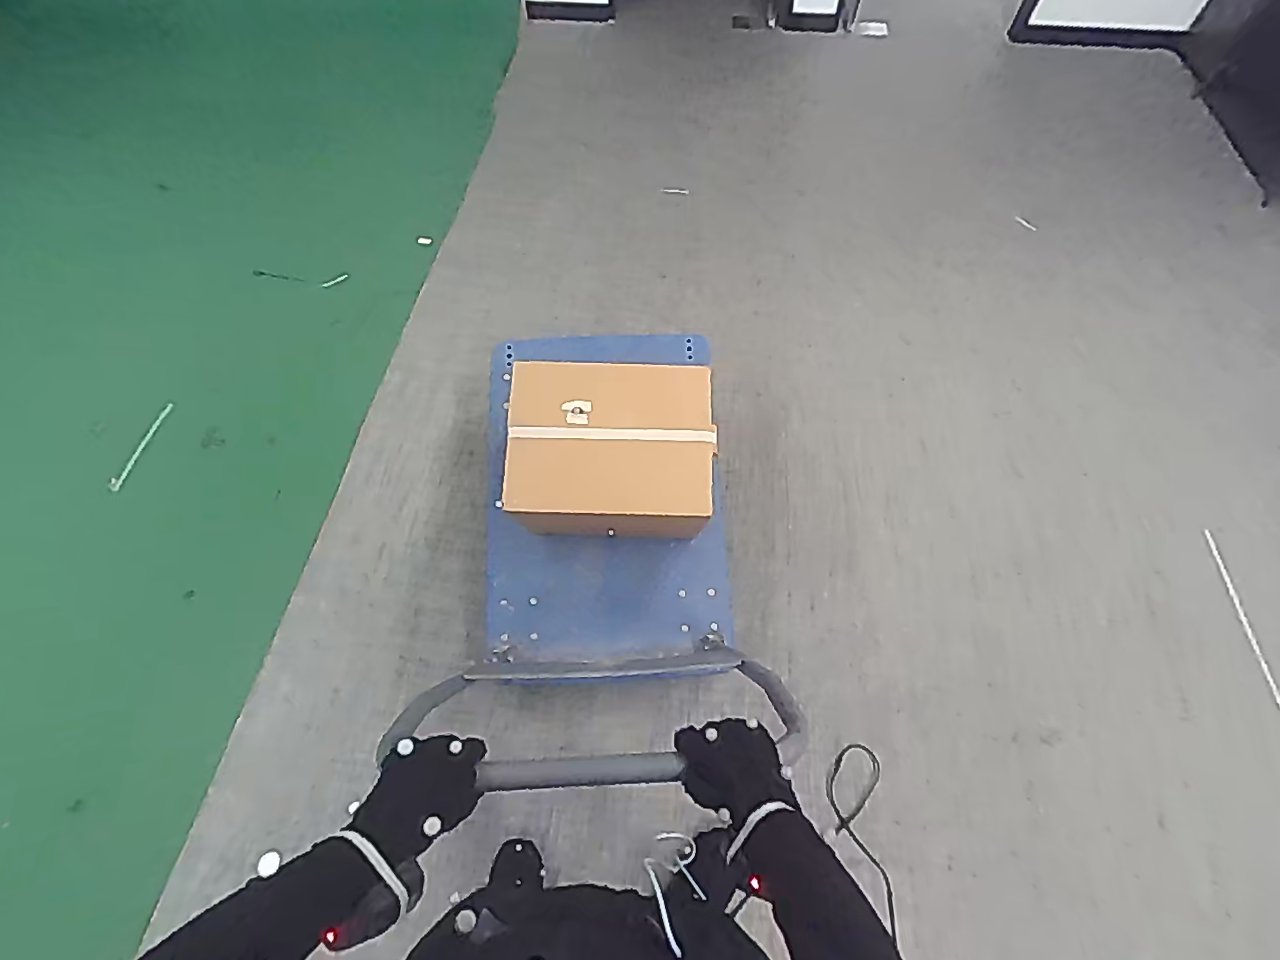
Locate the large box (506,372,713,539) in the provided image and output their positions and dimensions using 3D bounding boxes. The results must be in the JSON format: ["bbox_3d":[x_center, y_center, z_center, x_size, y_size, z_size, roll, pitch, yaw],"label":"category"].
[{"bbox_3d":[-0.054,-0.037,1.210,0.408,0.320,0.320,1,76,1],"label":"large box"}]
